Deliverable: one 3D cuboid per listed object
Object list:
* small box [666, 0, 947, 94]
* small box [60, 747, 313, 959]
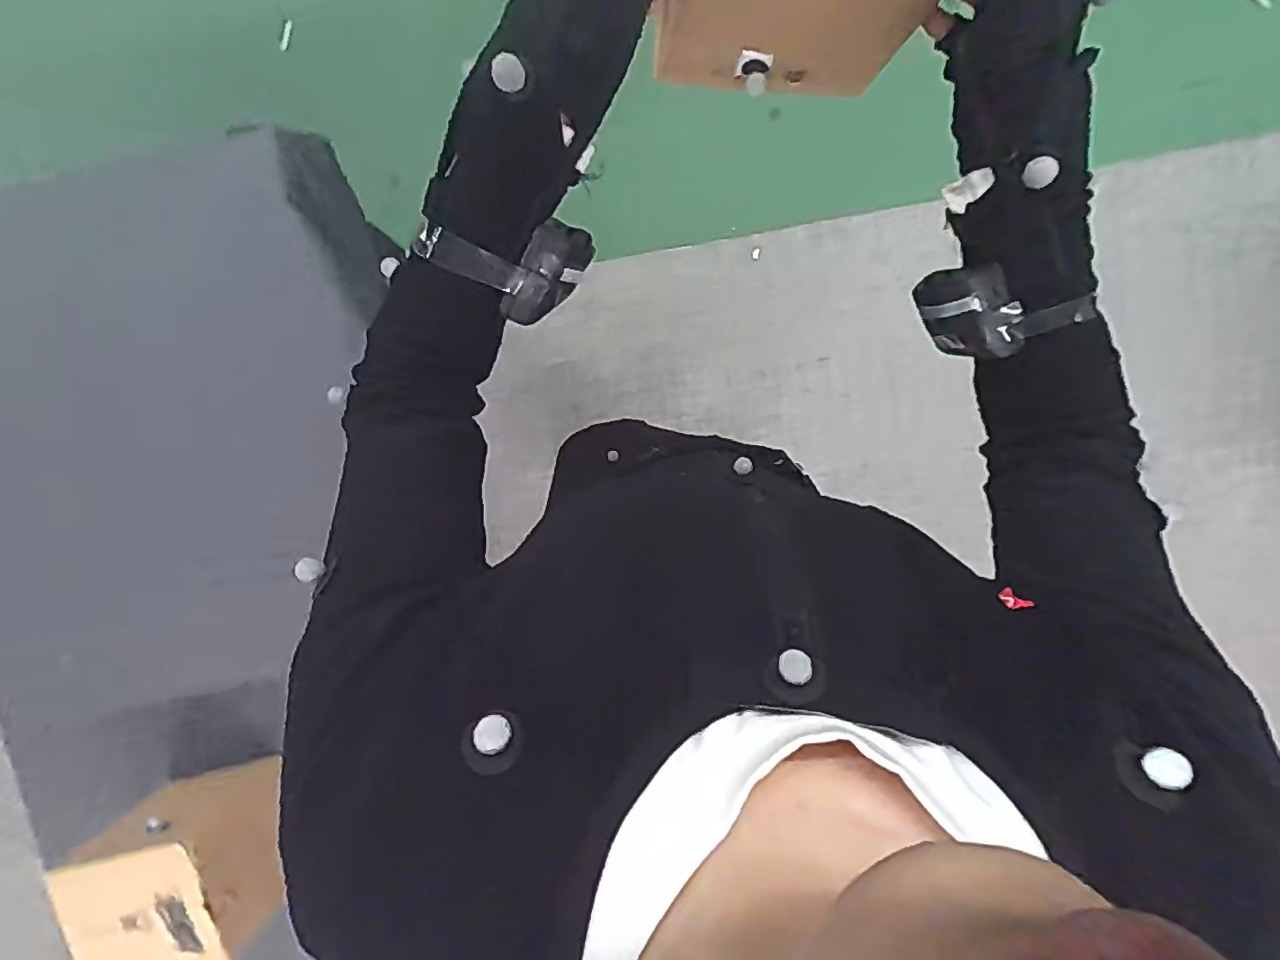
[{"bbox_3d":[0.107,-0.381,0.332,0.168,0.176,0.179,1,102,-3],"label":"small box"},{"bbox_3d":[-0.569,0.485,0.711,0.179,0.176,0.168,-15,95,3],"label":"small box"}]
